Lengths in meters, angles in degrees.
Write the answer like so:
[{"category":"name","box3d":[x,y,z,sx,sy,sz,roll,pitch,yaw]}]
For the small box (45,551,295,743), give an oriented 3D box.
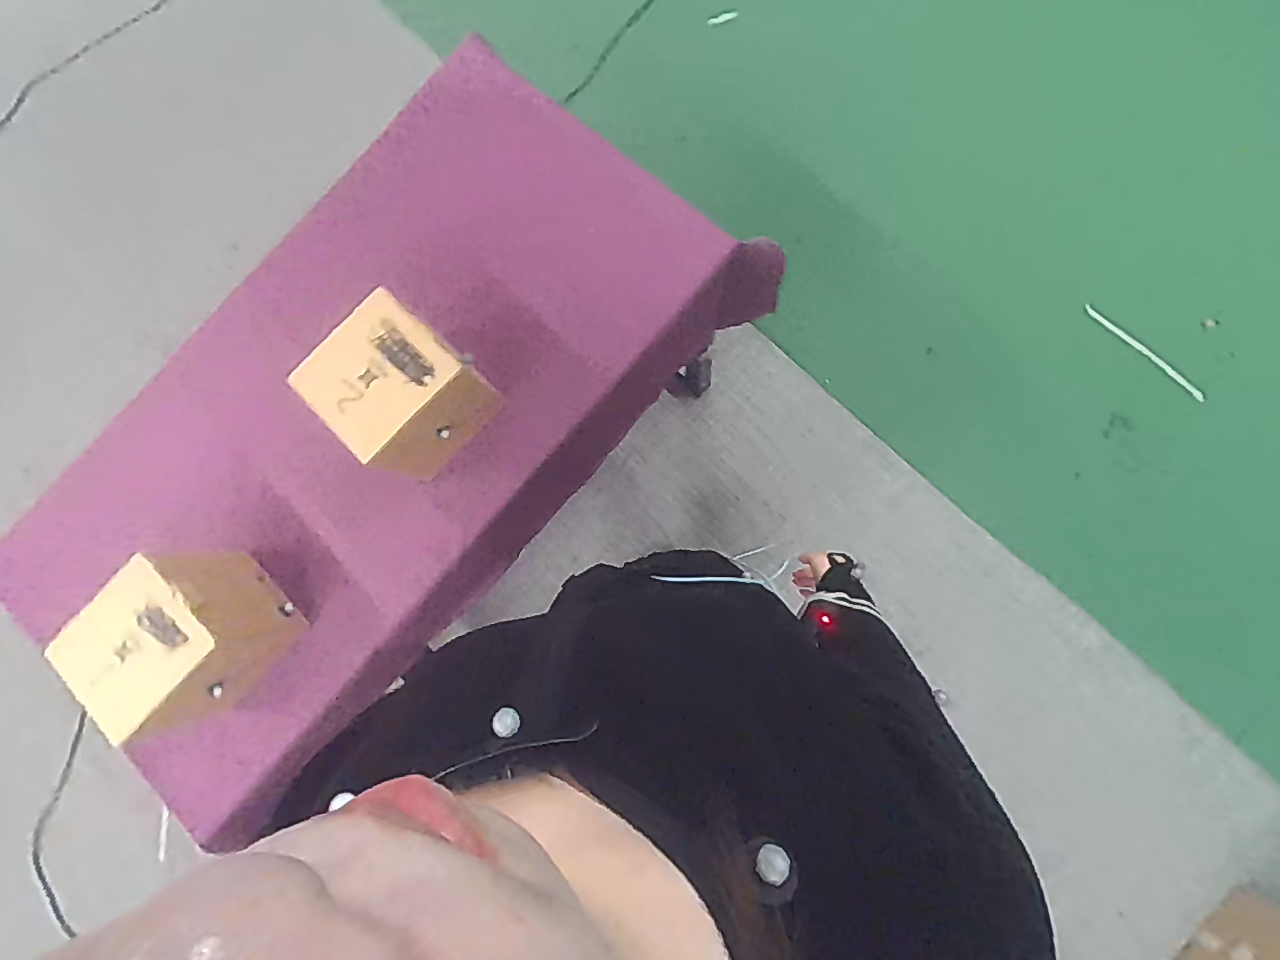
[{"category":"small box","box3d":[-0.624,0.214,0.748,0.168,0.176,0.179,42,88,9]}]
